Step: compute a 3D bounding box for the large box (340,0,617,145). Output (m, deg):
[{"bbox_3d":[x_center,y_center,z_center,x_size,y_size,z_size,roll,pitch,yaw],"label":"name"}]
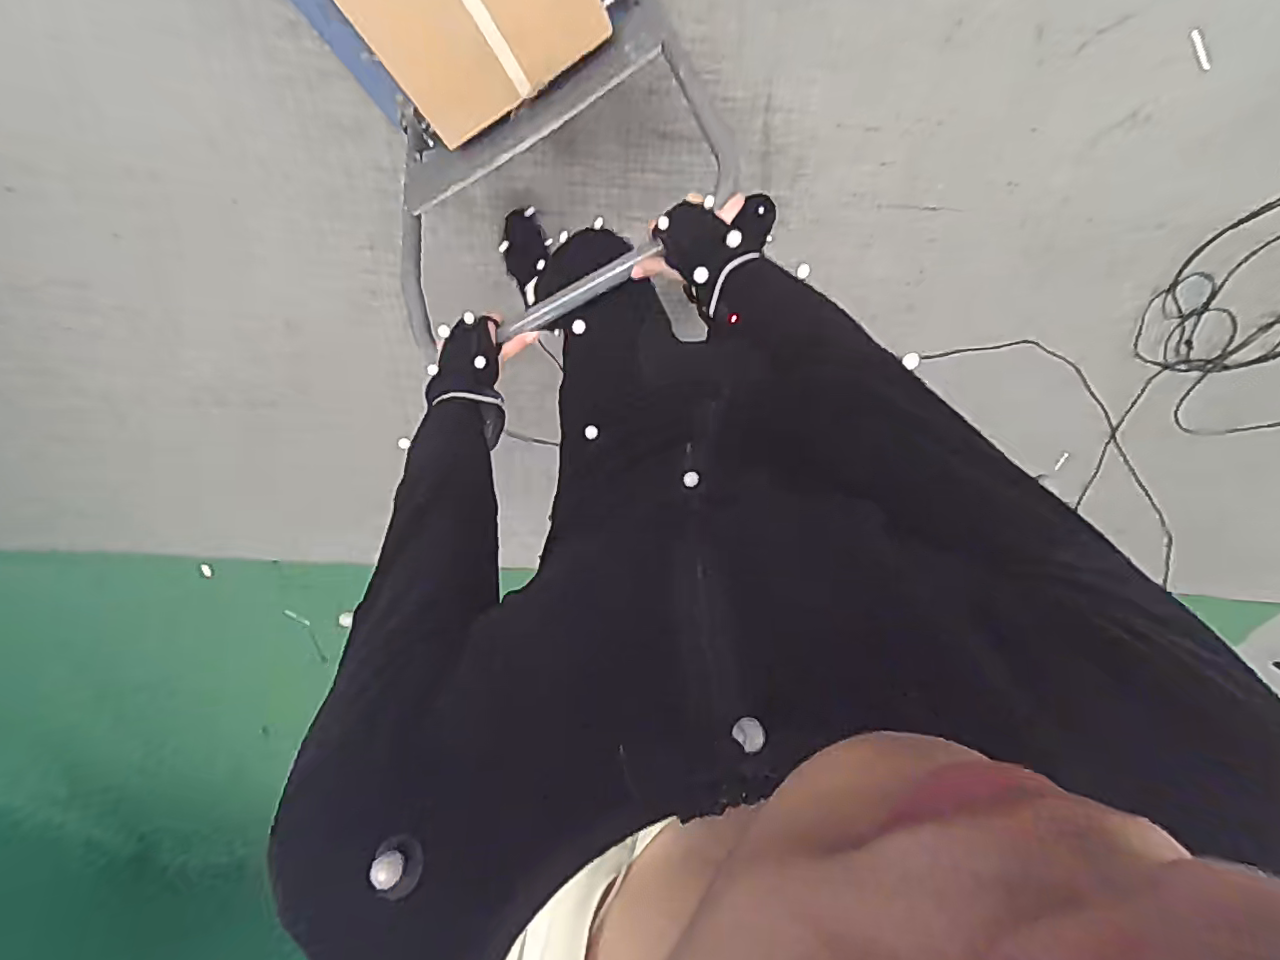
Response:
[{"bbox_3d":[-0.276,-0.801,0.761,0.320,0.320,0.408,-24,142,17],"label":"large box"}]
